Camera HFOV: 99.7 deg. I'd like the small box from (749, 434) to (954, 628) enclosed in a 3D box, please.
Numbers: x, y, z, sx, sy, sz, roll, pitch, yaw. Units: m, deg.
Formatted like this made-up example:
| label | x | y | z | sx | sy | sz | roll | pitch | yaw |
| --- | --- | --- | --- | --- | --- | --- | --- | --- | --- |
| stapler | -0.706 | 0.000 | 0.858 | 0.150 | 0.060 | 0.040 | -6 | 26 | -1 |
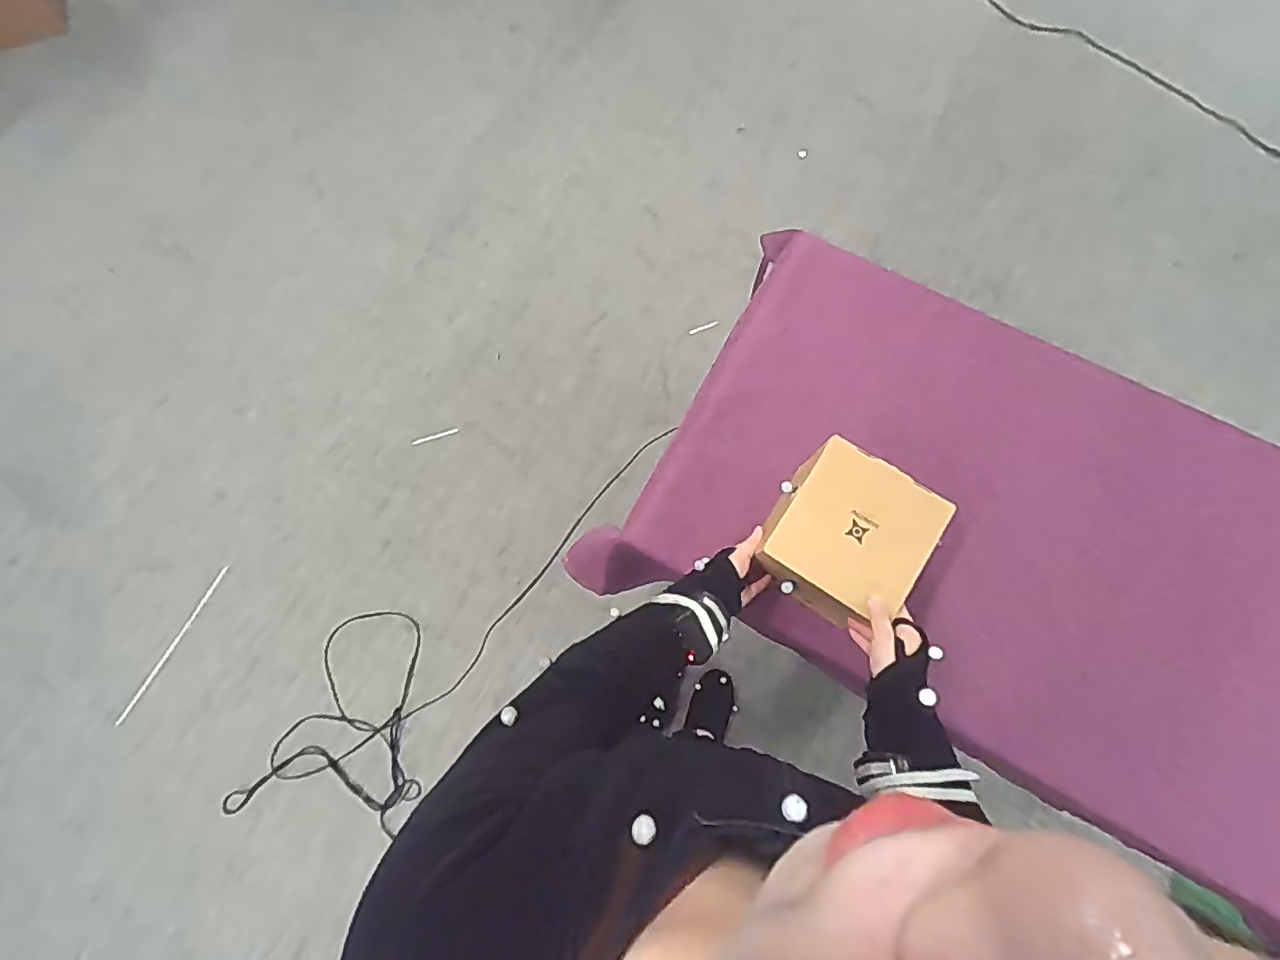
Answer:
| label | x | y | z | sx | sy | sz | roll | pitch | yaw |
| --- | --- | --- | --- | --- | --- | --- | --- | --- | --- |
| small box | 0.258 | 0.075 | 0.708 | 0.168 | 0.176 | 0.179 | 33 | 79 | 10 |
